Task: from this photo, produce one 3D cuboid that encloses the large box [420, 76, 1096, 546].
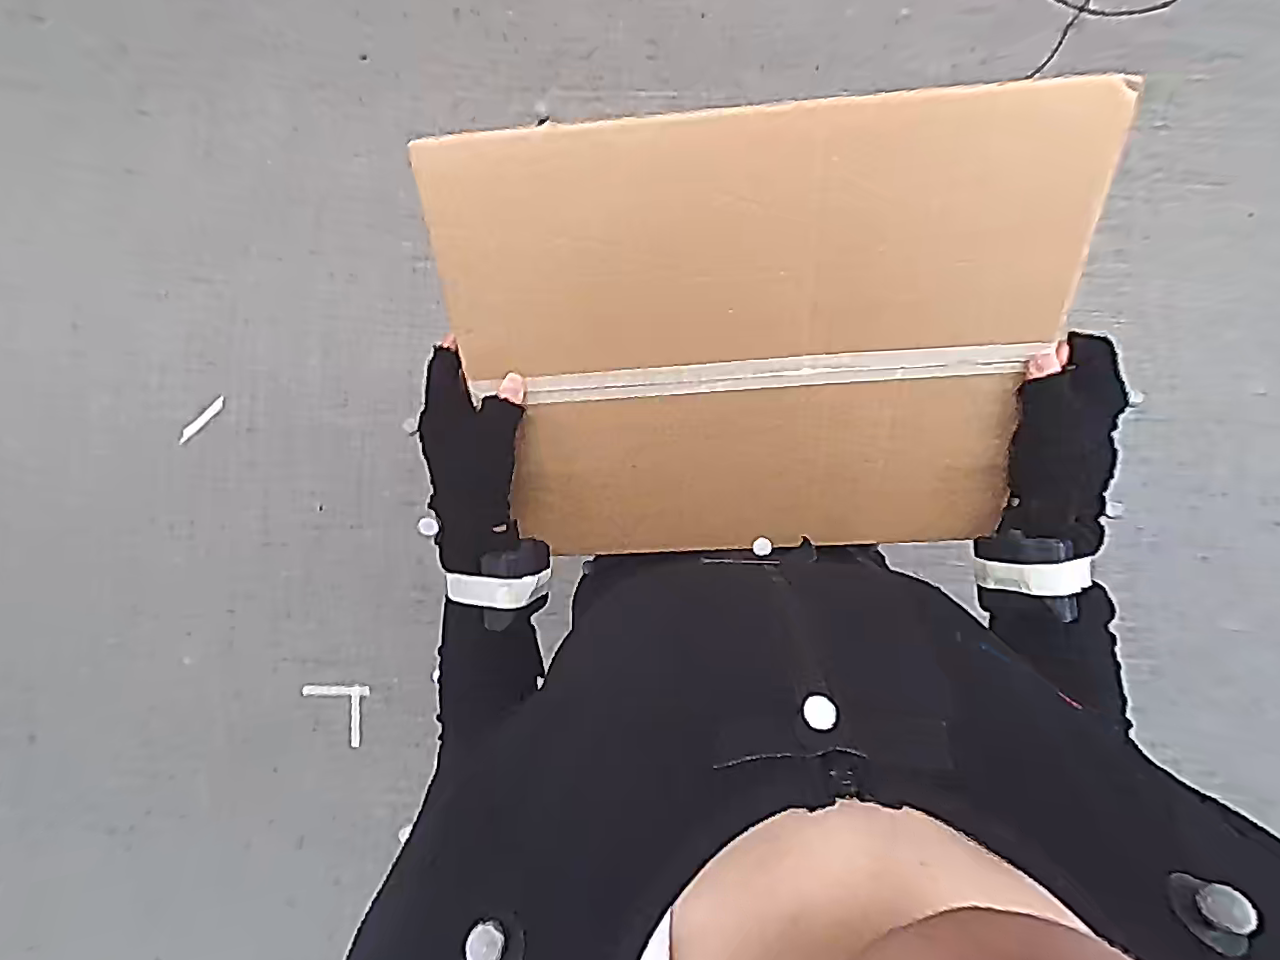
[{"bbox_3d":[0.076,-0.161,0.520,0.408,0.320,0.320,-3,123,4],"label":"large box"}]
